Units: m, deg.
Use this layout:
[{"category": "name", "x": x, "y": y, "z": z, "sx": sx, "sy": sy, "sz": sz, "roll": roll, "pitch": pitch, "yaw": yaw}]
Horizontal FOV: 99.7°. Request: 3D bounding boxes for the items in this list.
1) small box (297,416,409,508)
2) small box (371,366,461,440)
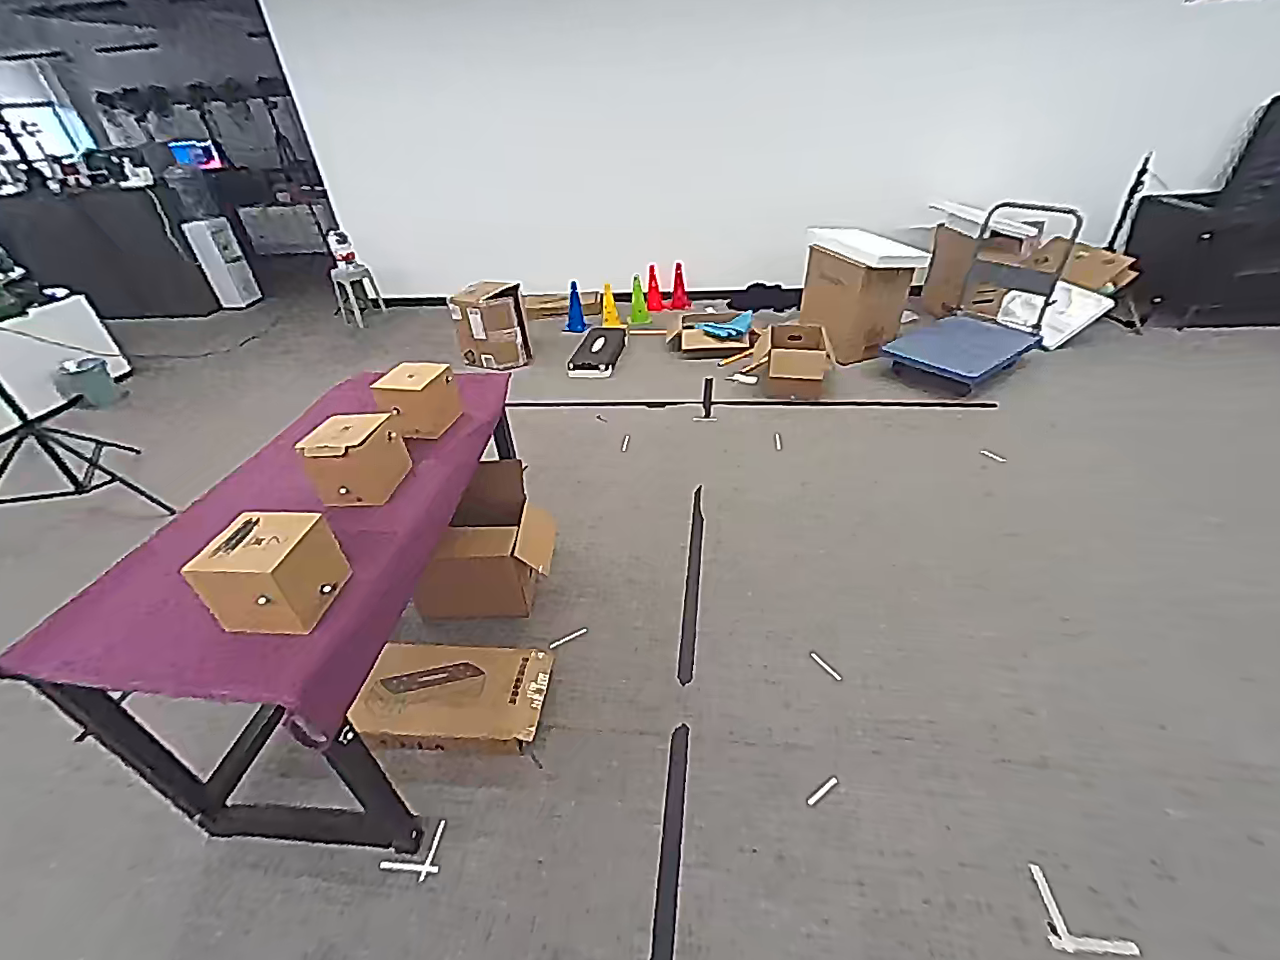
[{"category": "small box", "x": -0.713, "y": -0.047, "z": 1.371, "sx": 0.168, "sy": 0.176, "sz": 0.179, "roll": -2, "pitch": 36, "yaw": 7}, {"category": "small box", "x": -0.662, "y": -0.231, "z": 1.626, "sx": 0.168, "sy": 0.176, "sz": 0.179, "roll": 4, "pitch": 36, "yaw": 12}]
